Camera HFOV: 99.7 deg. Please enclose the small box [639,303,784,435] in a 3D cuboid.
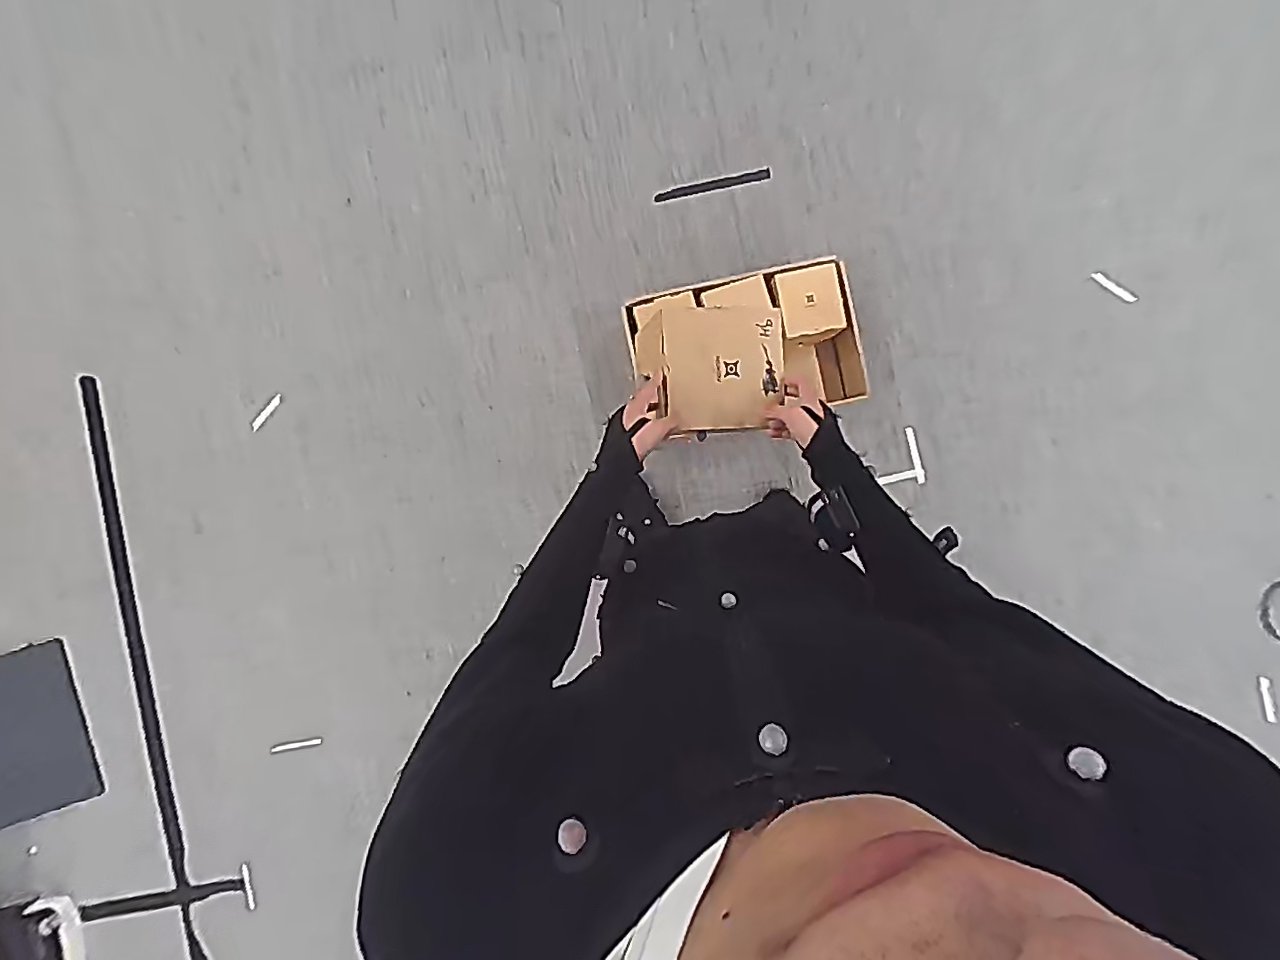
[{"bbox_3d":[0.095,-0.156,0.804,0.179,0.176,0.168,-3,92,-10],"label":"small box"}]
